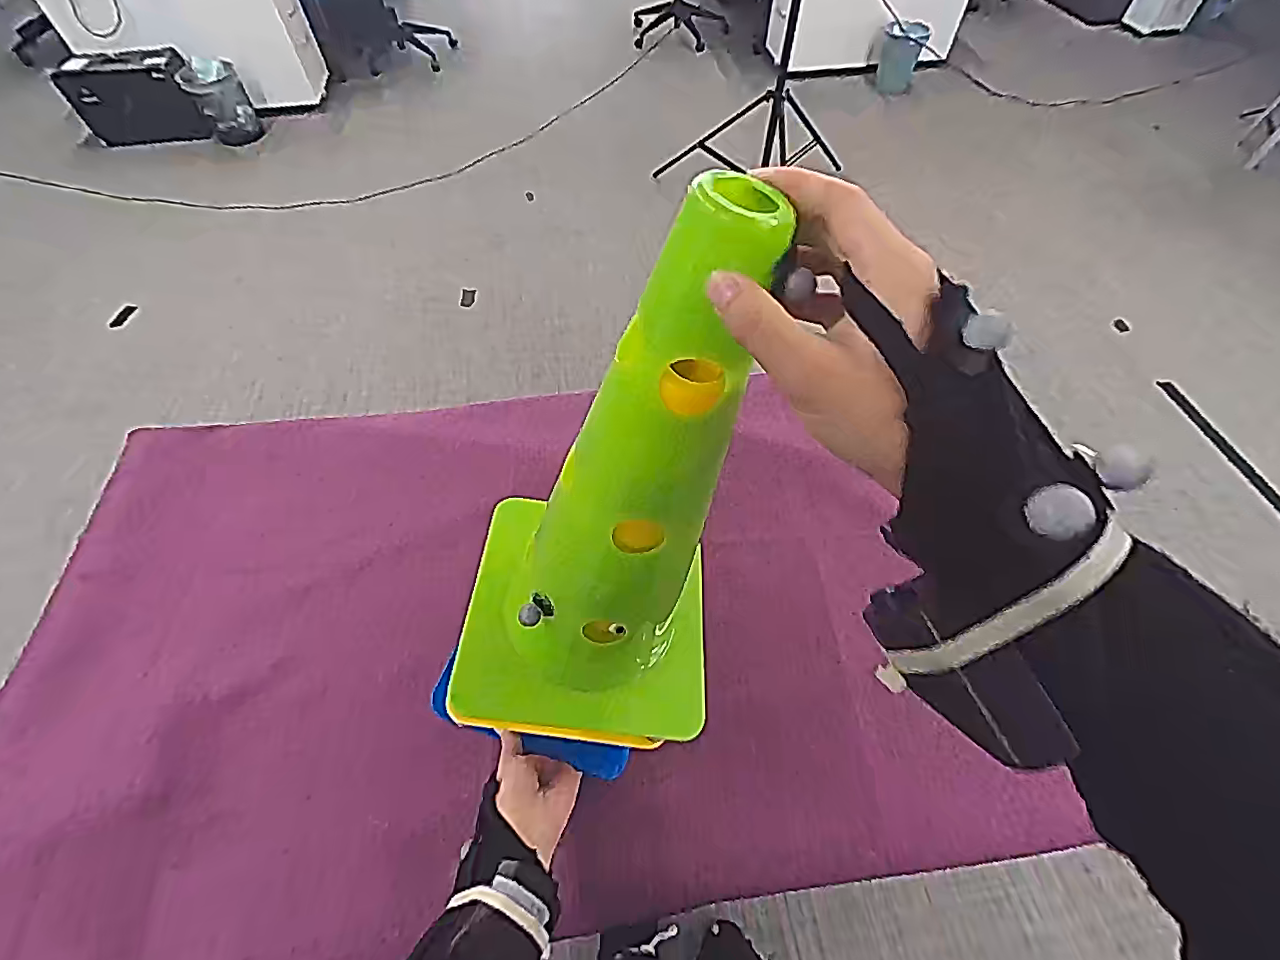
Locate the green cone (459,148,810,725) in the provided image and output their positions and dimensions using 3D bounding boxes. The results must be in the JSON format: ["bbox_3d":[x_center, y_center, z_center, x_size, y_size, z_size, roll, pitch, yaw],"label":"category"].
[{"bbox_3d":[0.000,-0.004,0.330,0.200,0.368,0.202,8,52,-9],"label":"green cone"}]
